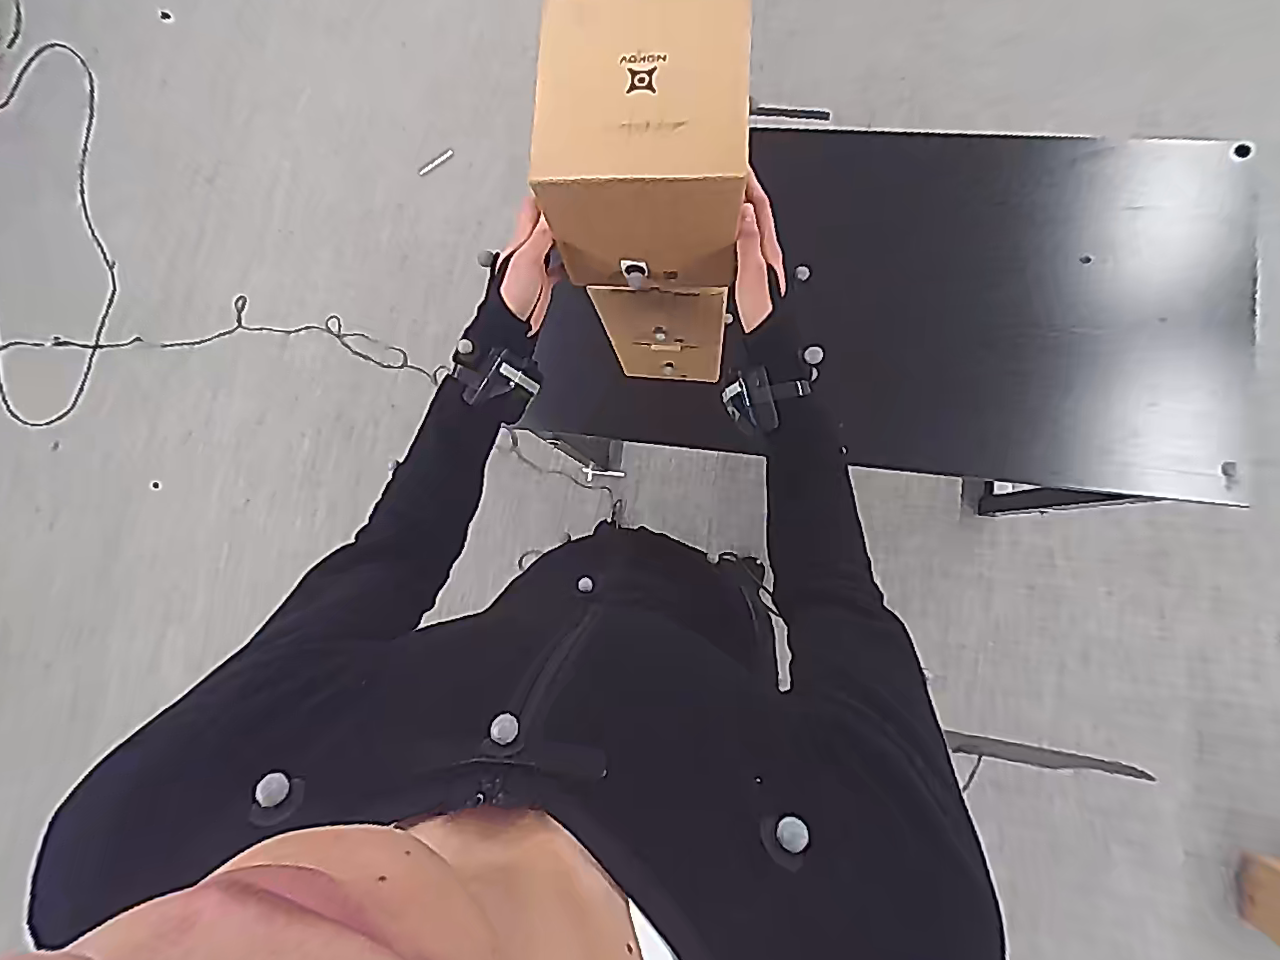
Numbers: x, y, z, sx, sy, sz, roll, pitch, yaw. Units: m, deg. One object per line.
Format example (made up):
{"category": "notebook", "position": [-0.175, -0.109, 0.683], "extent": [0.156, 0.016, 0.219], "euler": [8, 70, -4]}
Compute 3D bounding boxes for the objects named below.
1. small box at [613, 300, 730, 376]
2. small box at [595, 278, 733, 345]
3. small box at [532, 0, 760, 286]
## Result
{"category": "small box", "position": [0.059, -0.276, 0.870], "extent": [0.168, 0.176, 0.179], "euler": [5, 85, 7]}
{"category": "small box", "position": [0.040, -0.296, 0.707], "extent": [0.168, 0.176, 0.179], "euler": [6, 85, 8]}
{"category": "small box", "position": [0.012, -0.294, 0.479], "extent": [0.168, 0.176, 0.179], "euler": [1, 82, 6]}
